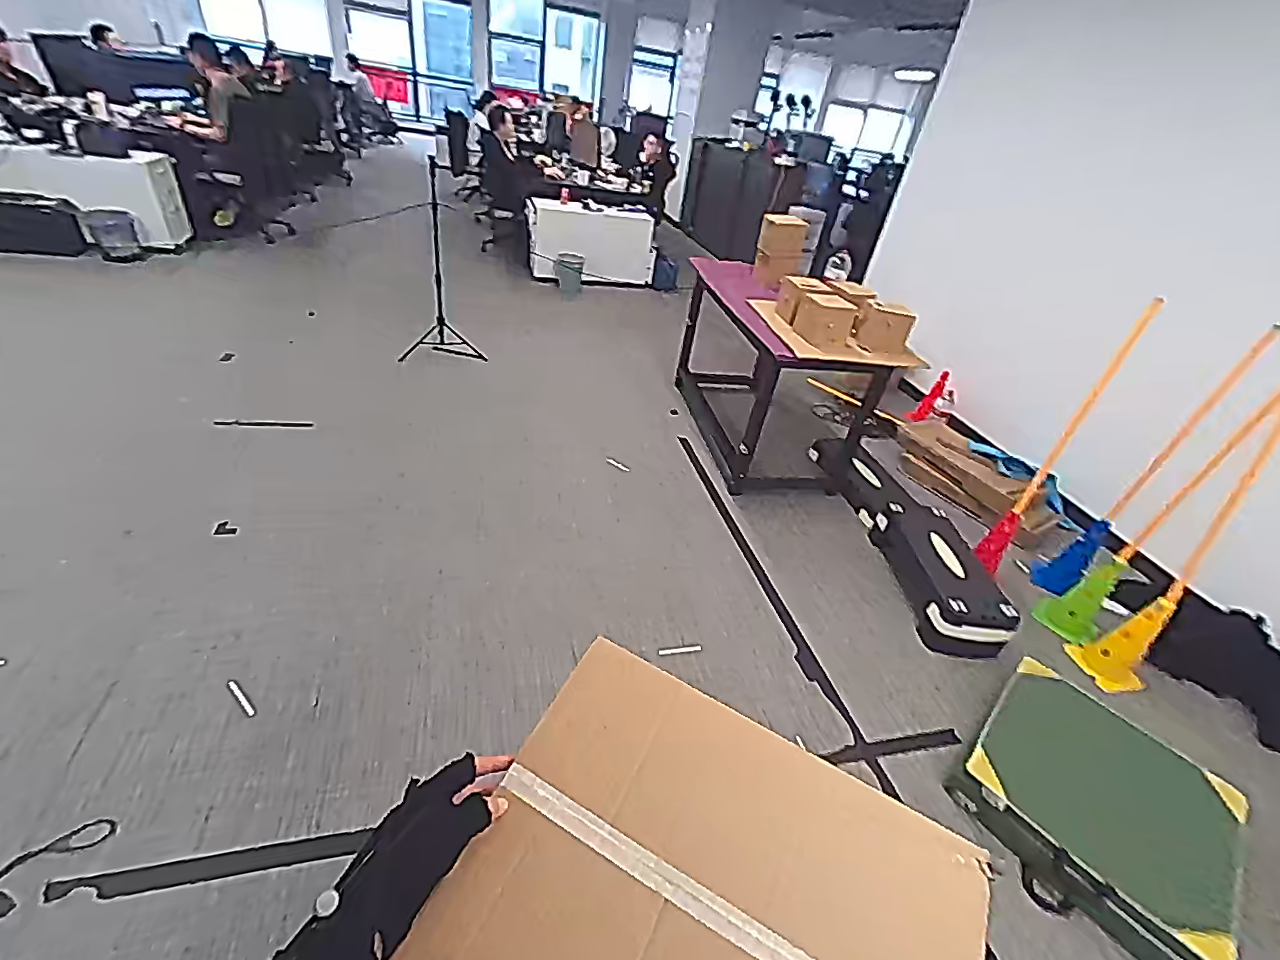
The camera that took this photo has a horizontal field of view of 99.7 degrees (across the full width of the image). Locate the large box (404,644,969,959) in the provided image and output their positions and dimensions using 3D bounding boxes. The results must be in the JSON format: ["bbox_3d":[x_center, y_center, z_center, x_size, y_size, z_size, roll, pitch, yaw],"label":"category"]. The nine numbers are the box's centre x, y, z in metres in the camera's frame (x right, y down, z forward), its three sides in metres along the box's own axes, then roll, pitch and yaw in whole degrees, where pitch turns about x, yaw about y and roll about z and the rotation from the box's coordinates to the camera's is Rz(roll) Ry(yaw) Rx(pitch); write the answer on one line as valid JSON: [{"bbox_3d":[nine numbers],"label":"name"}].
[{"bbox_3d":[0.045,0.450,0.564,0.408,0.320,0.320,25,50,15],"label":"large box"}]
